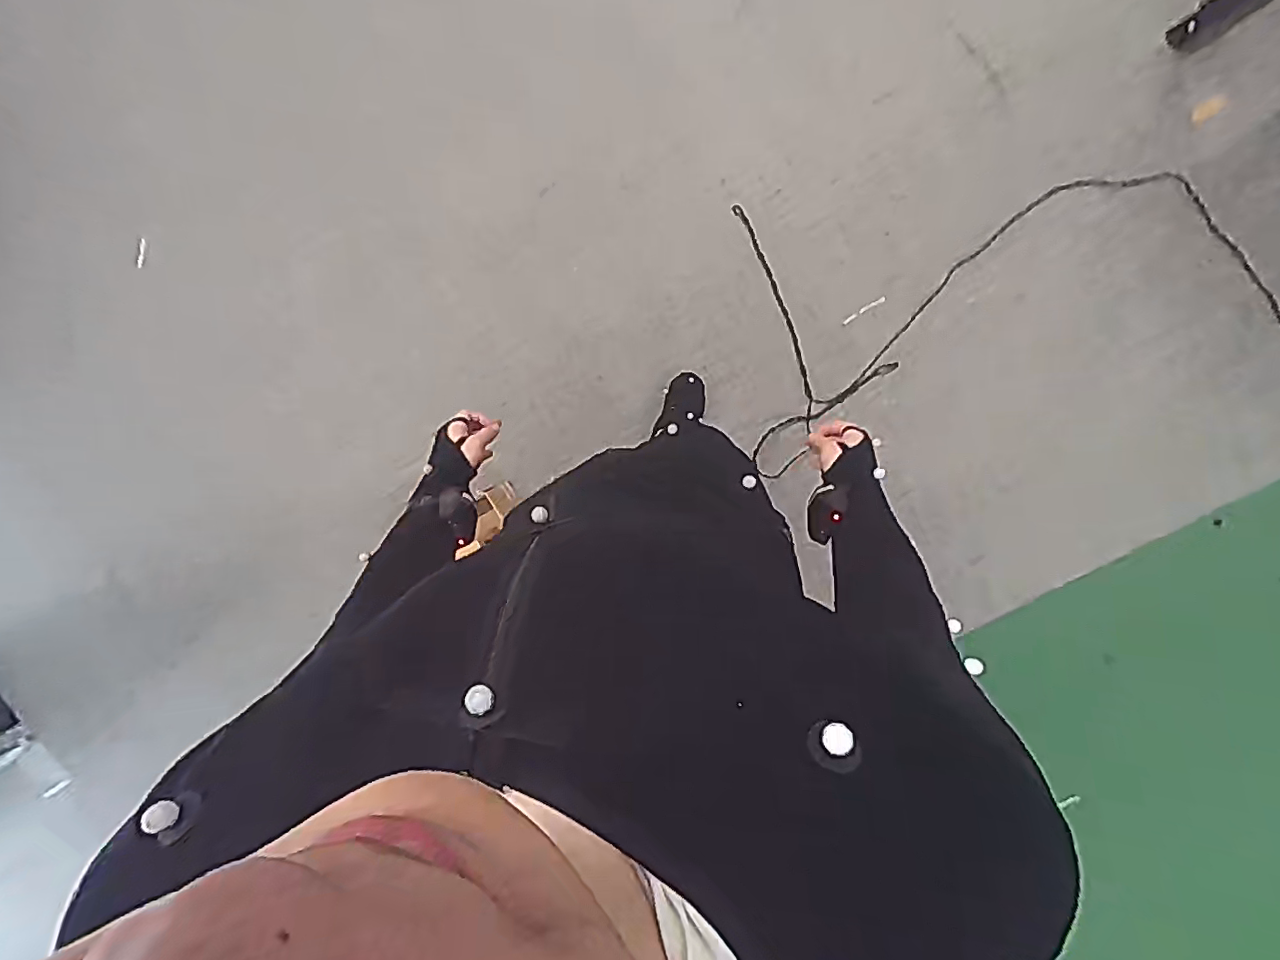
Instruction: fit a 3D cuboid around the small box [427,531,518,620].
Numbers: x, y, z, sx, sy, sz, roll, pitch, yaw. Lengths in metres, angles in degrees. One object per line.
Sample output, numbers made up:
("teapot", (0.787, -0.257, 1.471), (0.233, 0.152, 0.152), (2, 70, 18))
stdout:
("small box", (-0.473, 0.268, 1.568), (0.179, 0.176, 0.168), (-28, 96, 8))
